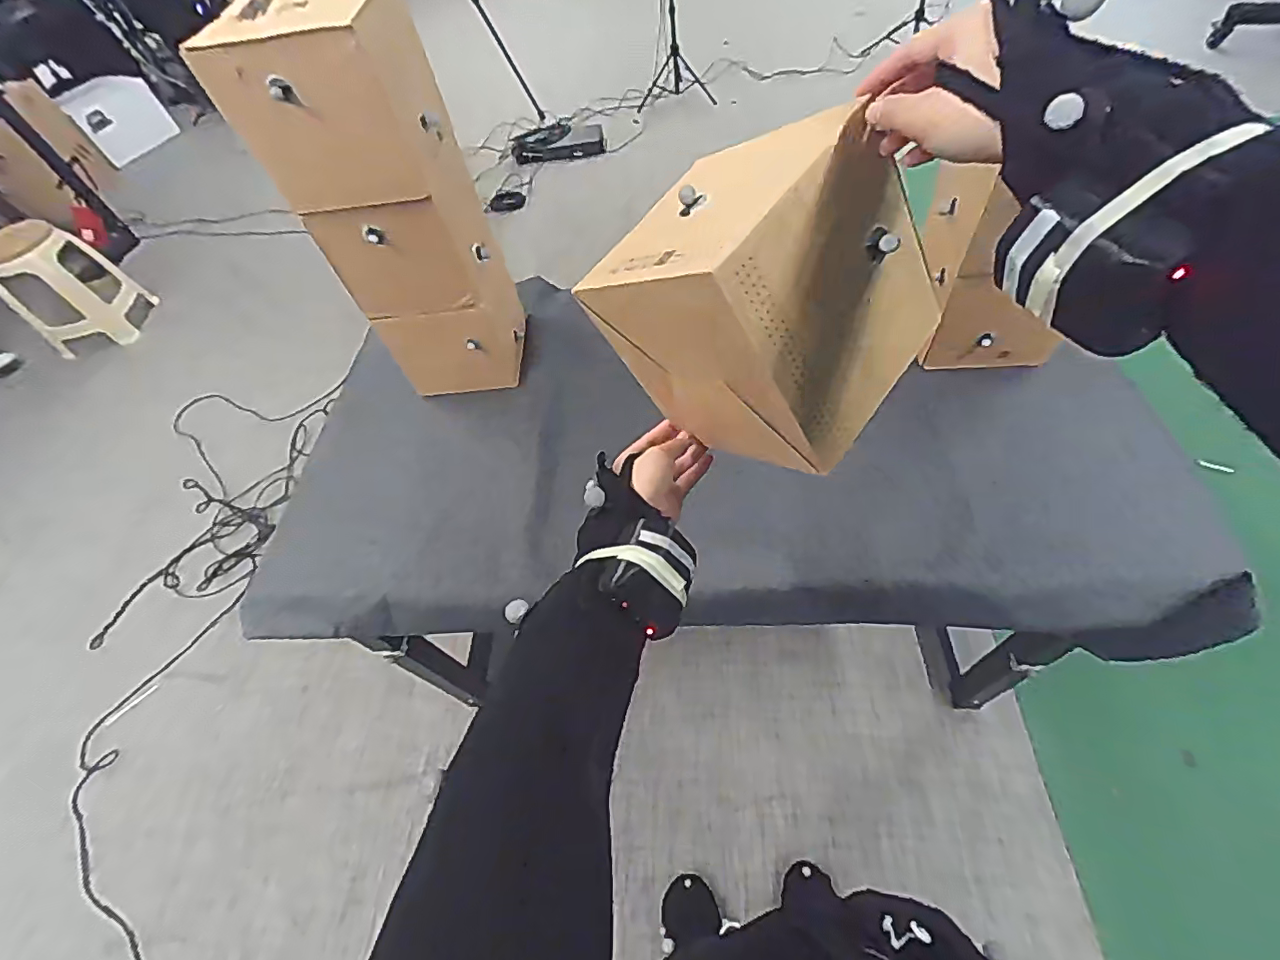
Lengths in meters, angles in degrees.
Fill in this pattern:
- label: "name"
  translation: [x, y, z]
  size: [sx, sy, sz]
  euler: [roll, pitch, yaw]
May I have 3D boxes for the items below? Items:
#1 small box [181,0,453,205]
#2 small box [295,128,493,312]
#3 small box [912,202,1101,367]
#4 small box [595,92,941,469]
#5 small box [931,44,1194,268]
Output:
- label: "small box"
  translation: [-0.340, -0.436, 0.612]
  size: [0.179, 0.176, 0.168]
  euler: [-3, 58, 5]
- label: "small box"
  translation: [-0.324, -0.354, 0.754]
  size: [0.179, 0.176, 0.168]
  euler: [-5, 58, 4]
- label: "small box"
  translation: [0.494, -0.284, 0.776]
  size: [0.168, 0.176, 0.179]
  euler: [0, 57, 9]
- label: "small box"
  translation: [0.088, -0.135, 0.414]
  size: [0.176, 0.179, 0.168]
  euler: [-49, 34, -13]
- label: "small box"
  translation: [0.469, -0.369, 0.638]
  size: [0.168, 0.176, 0.179]
  euler: [0, 58, 9]
